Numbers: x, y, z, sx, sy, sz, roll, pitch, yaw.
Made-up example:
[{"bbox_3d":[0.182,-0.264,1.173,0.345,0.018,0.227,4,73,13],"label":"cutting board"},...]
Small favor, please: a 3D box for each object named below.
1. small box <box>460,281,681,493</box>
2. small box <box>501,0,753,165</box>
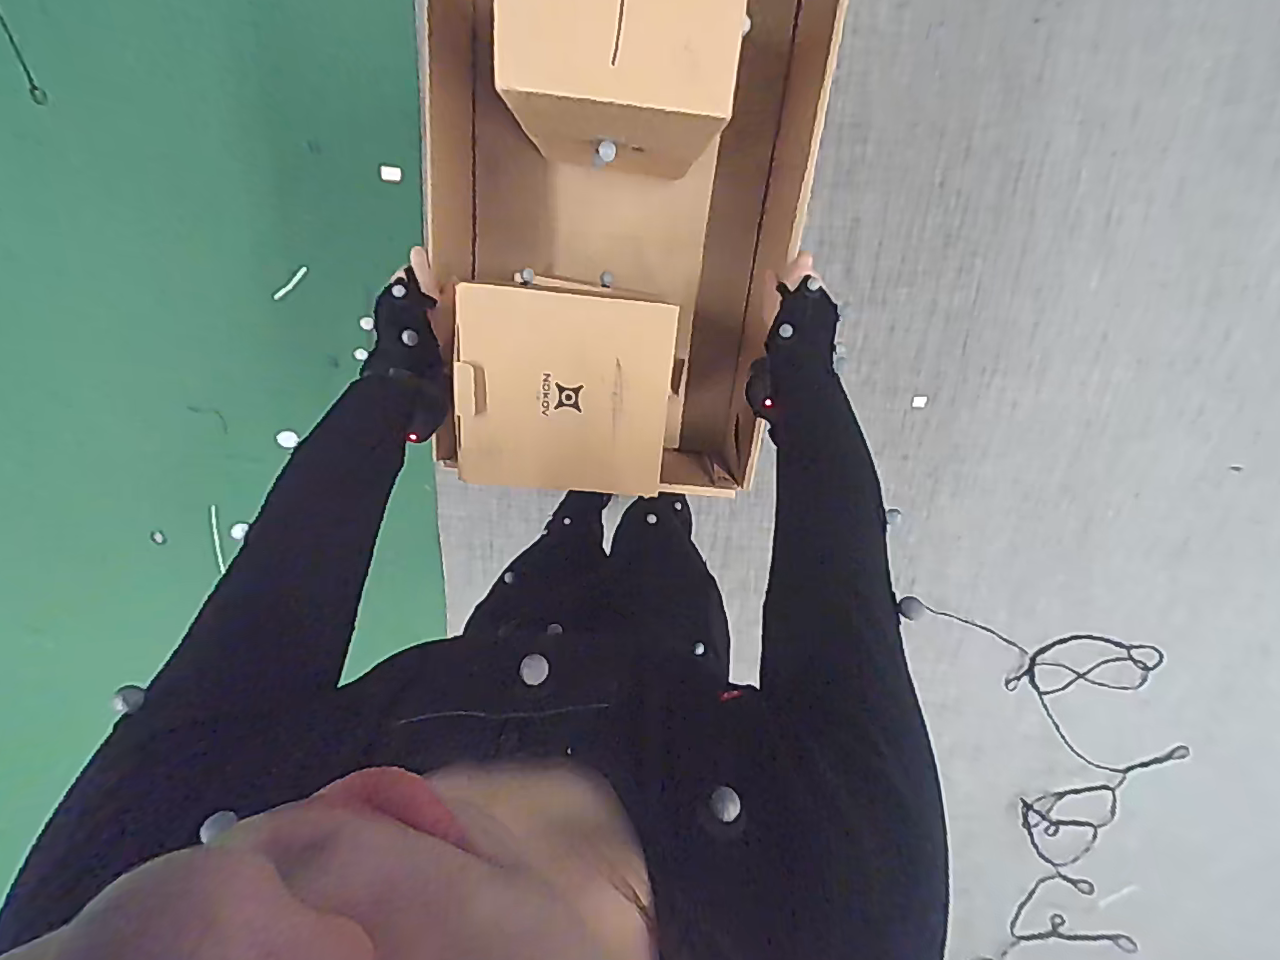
[{"bbox_3d":[-0.065,-0.099,0.528,0.179,0.176,0.168,4,111,-5],"label":"small box"},{"bbox_3d":[-0.009,-0.367,0.421,0.168,0.176,0.179,5,112,-5],"label":"small box"}]
